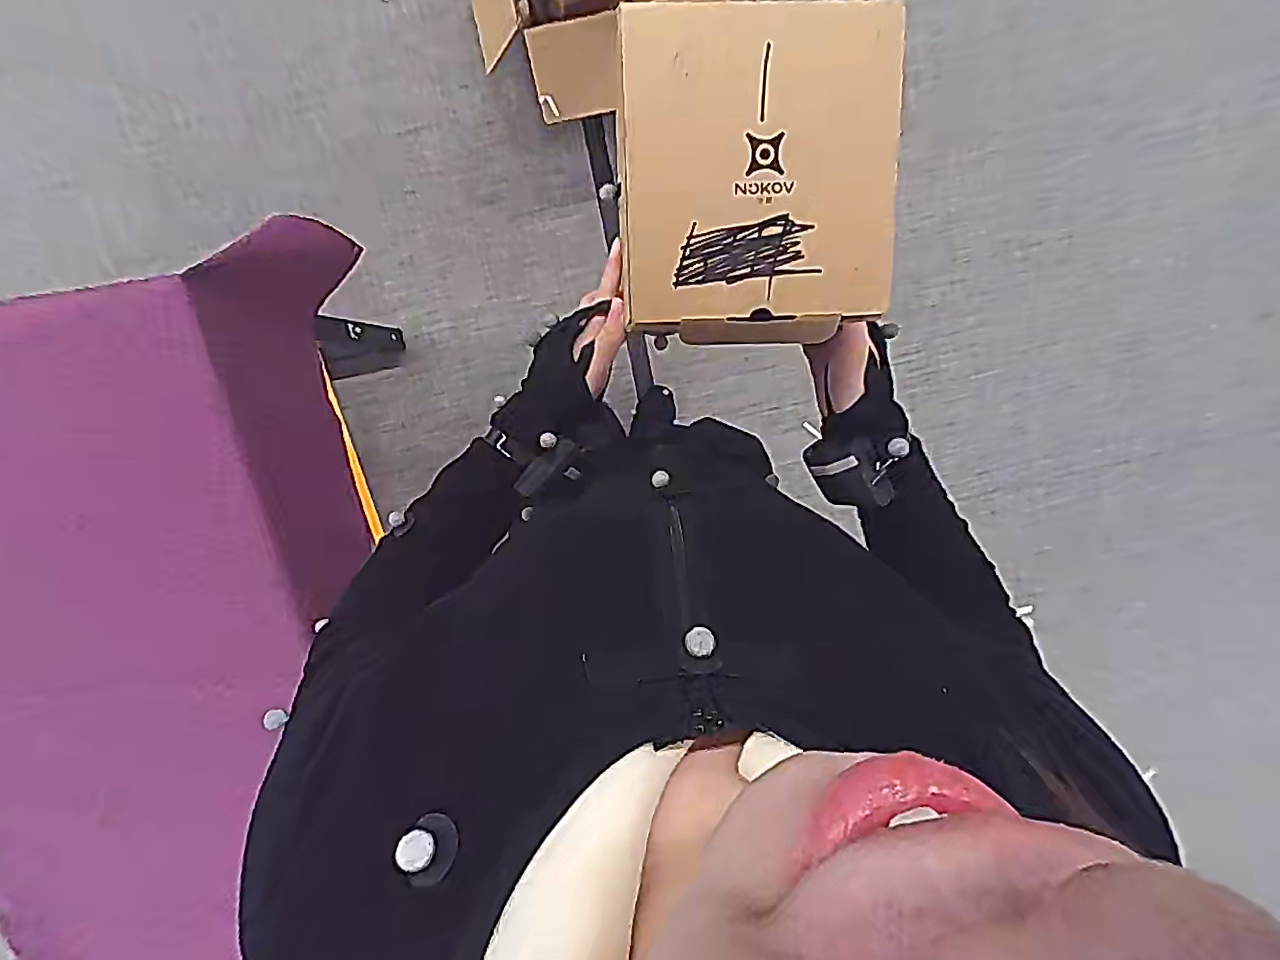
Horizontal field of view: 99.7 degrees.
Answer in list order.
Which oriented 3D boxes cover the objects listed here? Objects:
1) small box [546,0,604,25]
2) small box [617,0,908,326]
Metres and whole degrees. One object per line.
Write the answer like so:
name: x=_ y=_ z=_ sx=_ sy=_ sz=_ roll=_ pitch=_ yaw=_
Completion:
small box: x=-0.126 y=-1.023 z=1.017 sx=0.179 sy=0.176 sz=0.168 roll=-34 pitch=104 yaw=2
small box: x=0.069 y=-0.207 z=0.399 sx=0.168 sy=0.176 sz=0.179 roll=-3 pitch=102 yaw=-3
